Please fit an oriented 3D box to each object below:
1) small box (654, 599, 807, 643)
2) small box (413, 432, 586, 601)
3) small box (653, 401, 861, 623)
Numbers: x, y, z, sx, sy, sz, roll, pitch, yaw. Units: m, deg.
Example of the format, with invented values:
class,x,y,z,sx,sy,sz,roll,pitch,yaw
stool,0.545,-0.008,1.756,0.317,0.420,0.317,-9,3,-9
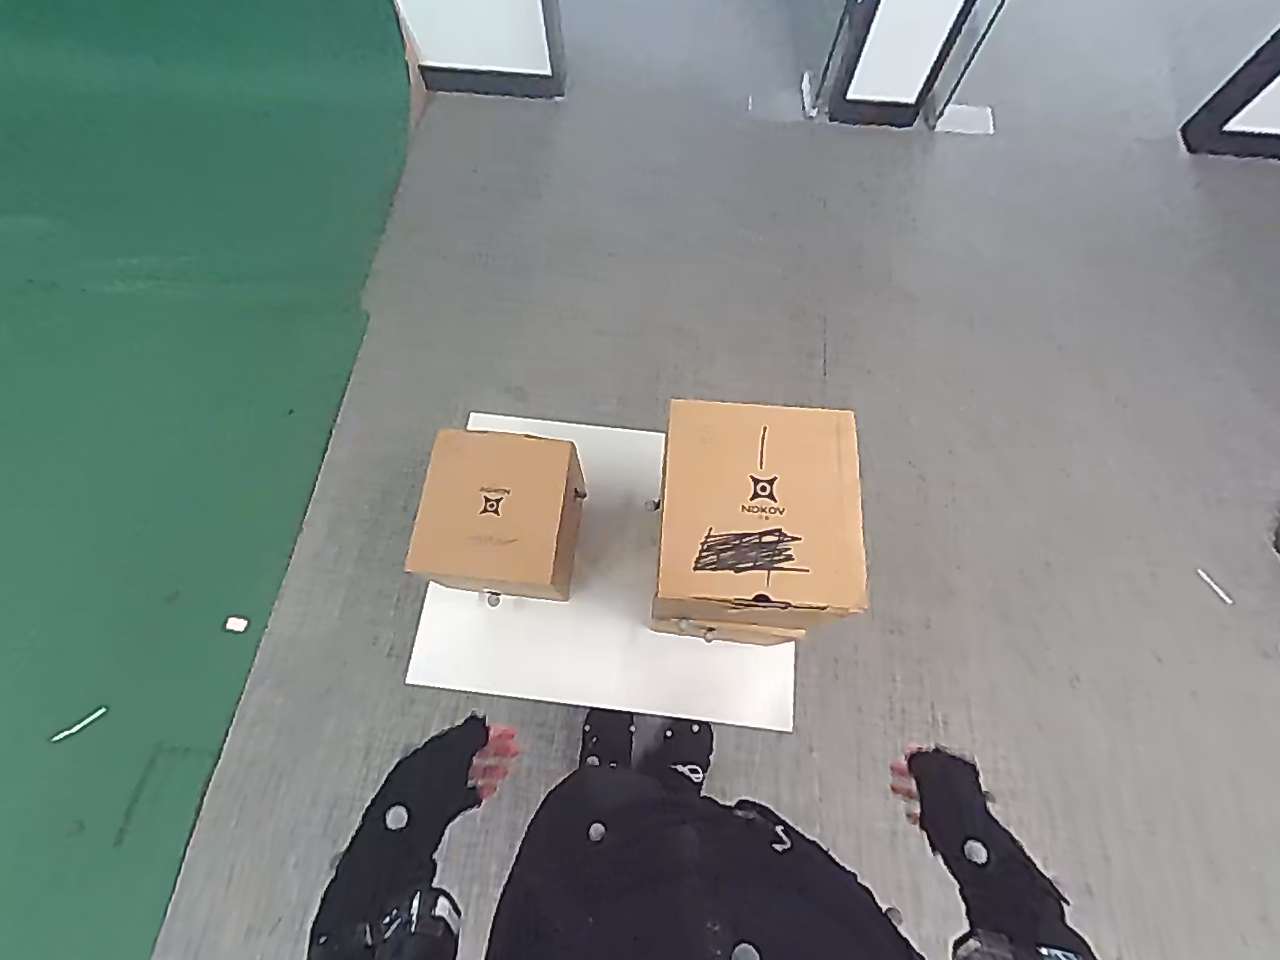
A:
class,x,y,z,sx,sy,sz,roll,pitch,yaw
small box,0.107,0.102,0.680,0.168,0.176,0.179,6,71,4
small box,-0.165,0.055,0.701,0.168,0.176,0.179,4,73,3
small box,0.101,0.041,0.527,0.168,0.176,0.179,3,70,2
